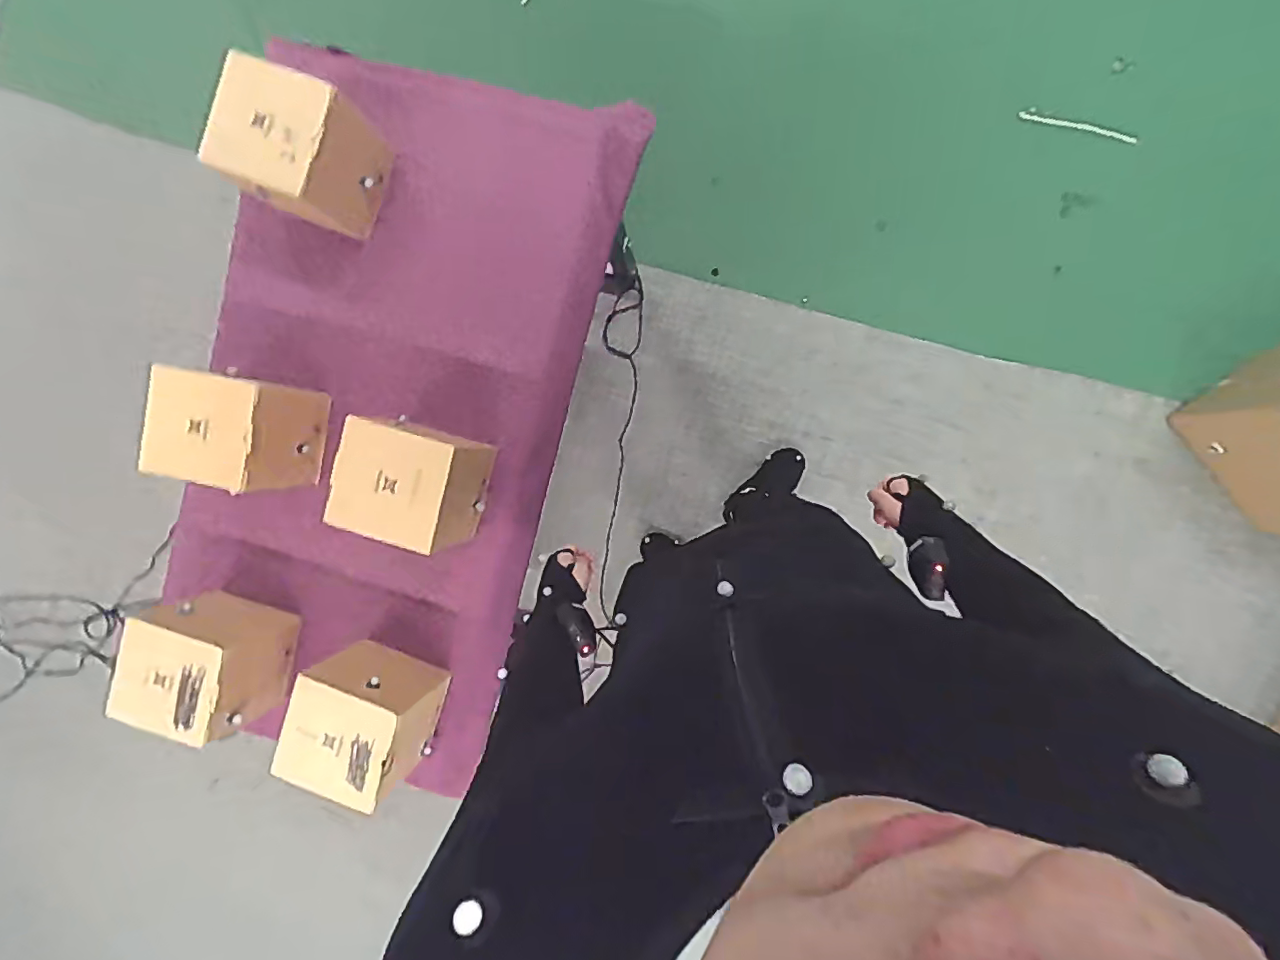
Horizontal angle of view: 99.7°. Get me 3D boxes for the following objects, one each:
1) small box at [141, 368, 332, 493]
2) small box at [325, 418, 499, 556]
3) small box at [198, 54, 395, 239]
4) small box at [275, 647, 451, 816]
[{"bbox_3d":[-0.652,-0.077,0.891,0.179,0.176,0.168,11,93,4],"label":"small box"},{"bbox_3d":[-0.353,0.008,0.864,0.179,0.176,0.168,16,95,5],"label":"small box"},{"bbox_3d":[-0.530,-0.511,0.857,0.179,0.176,0.168,21,95,4],"label":"small box"},{"bbox_3d":[-0.441,0.397,0.888,0.179,0.176,0.168,18,94,6],"label":"small box"}]
